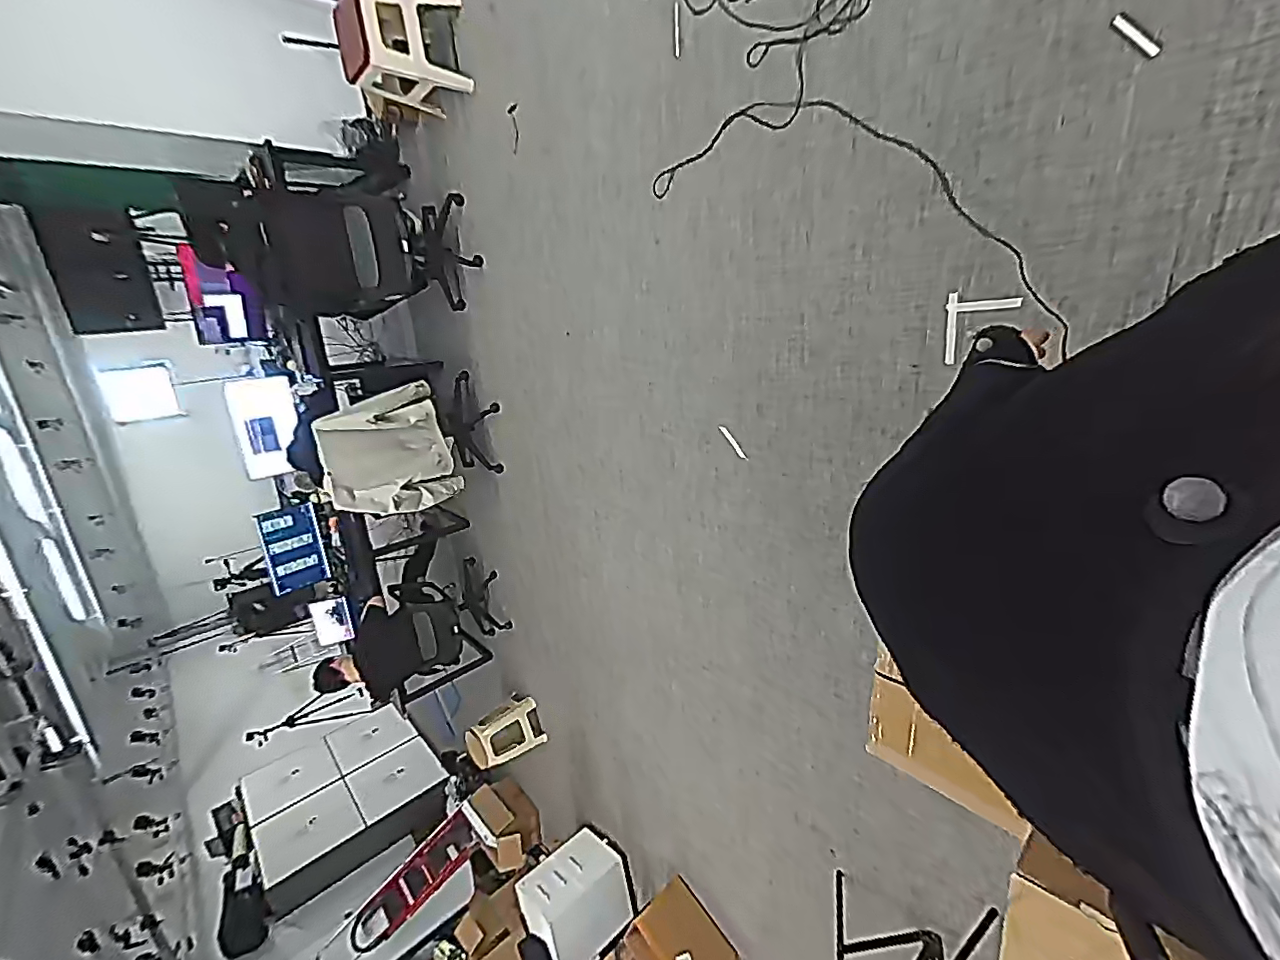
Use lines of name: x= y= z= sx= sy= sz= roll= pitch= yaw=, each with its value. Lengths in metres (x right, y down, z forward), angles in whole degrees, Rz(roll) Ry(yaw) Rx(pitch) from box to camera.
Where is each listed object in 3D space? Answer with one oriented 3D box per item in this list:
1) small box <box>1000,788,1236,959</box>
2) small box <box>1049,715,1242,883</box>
small box: x=0.528 y=0.494 z=0.603 sx=0.168 sy=0.176 sz=0.179 roll=13 pitch=113 yaw=47
small box: x=0.648 y=0.453 z=0.707 sx=0.168 sy=0.176 sz=0.179 roll=14 pitch=114 yaw=46
